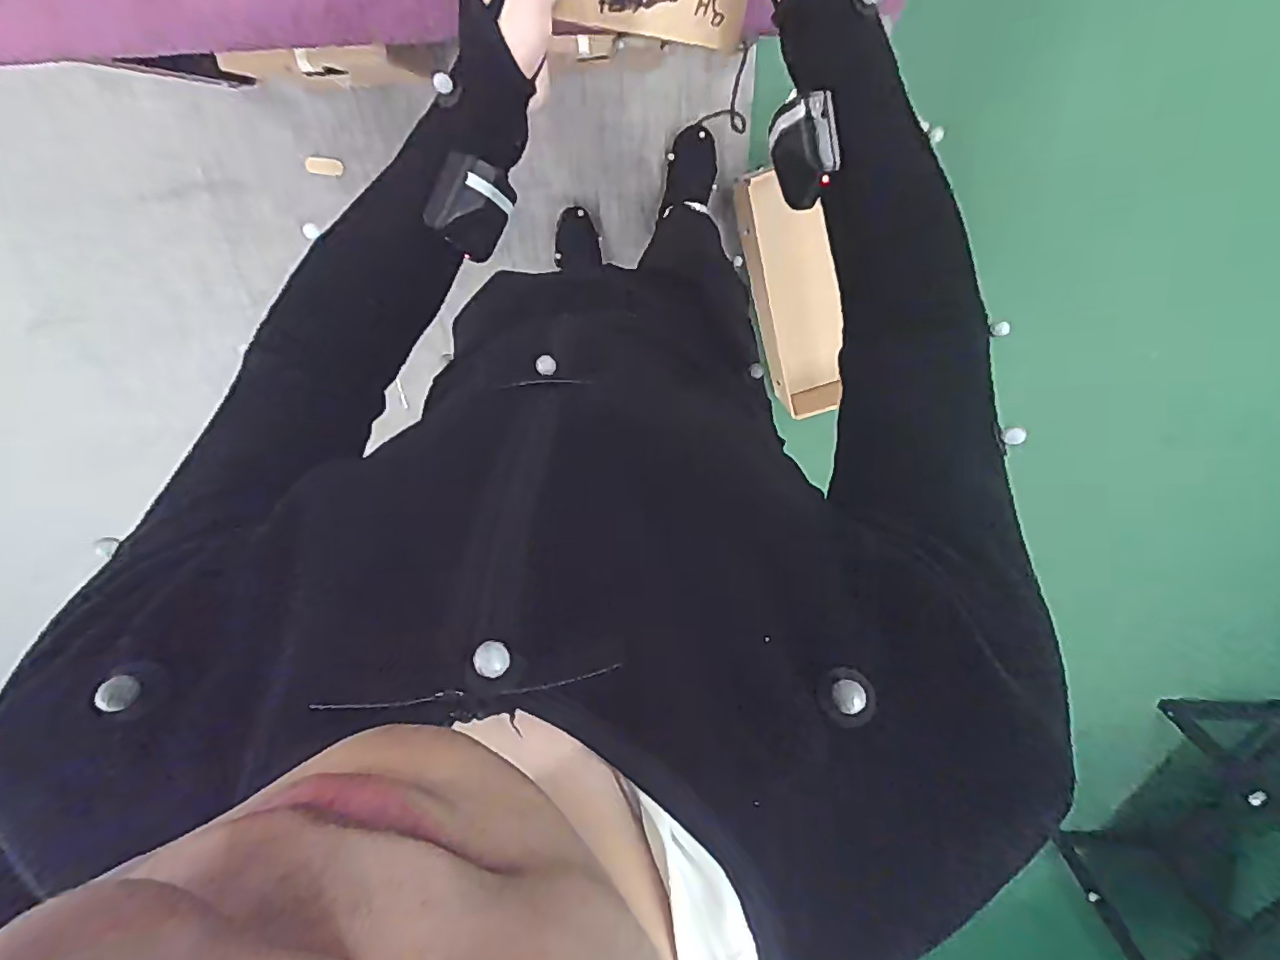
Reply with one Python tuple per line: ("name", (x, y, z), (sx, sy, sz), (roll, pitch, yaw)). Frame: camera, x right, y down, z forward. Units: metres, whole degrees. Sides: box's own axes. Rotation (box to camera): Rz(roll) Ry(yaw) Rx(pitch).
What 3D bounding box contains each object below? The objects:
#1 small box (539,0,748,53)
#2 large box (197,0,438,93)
("small box", (0.015, -0.477, 0.447), (0.168, 0.176, 0.179), (8, 129, -2))
("large box", (-0.614, -0.989, 1.005), (0.320, 0.320, 0.408), (-2, 120, 0))
